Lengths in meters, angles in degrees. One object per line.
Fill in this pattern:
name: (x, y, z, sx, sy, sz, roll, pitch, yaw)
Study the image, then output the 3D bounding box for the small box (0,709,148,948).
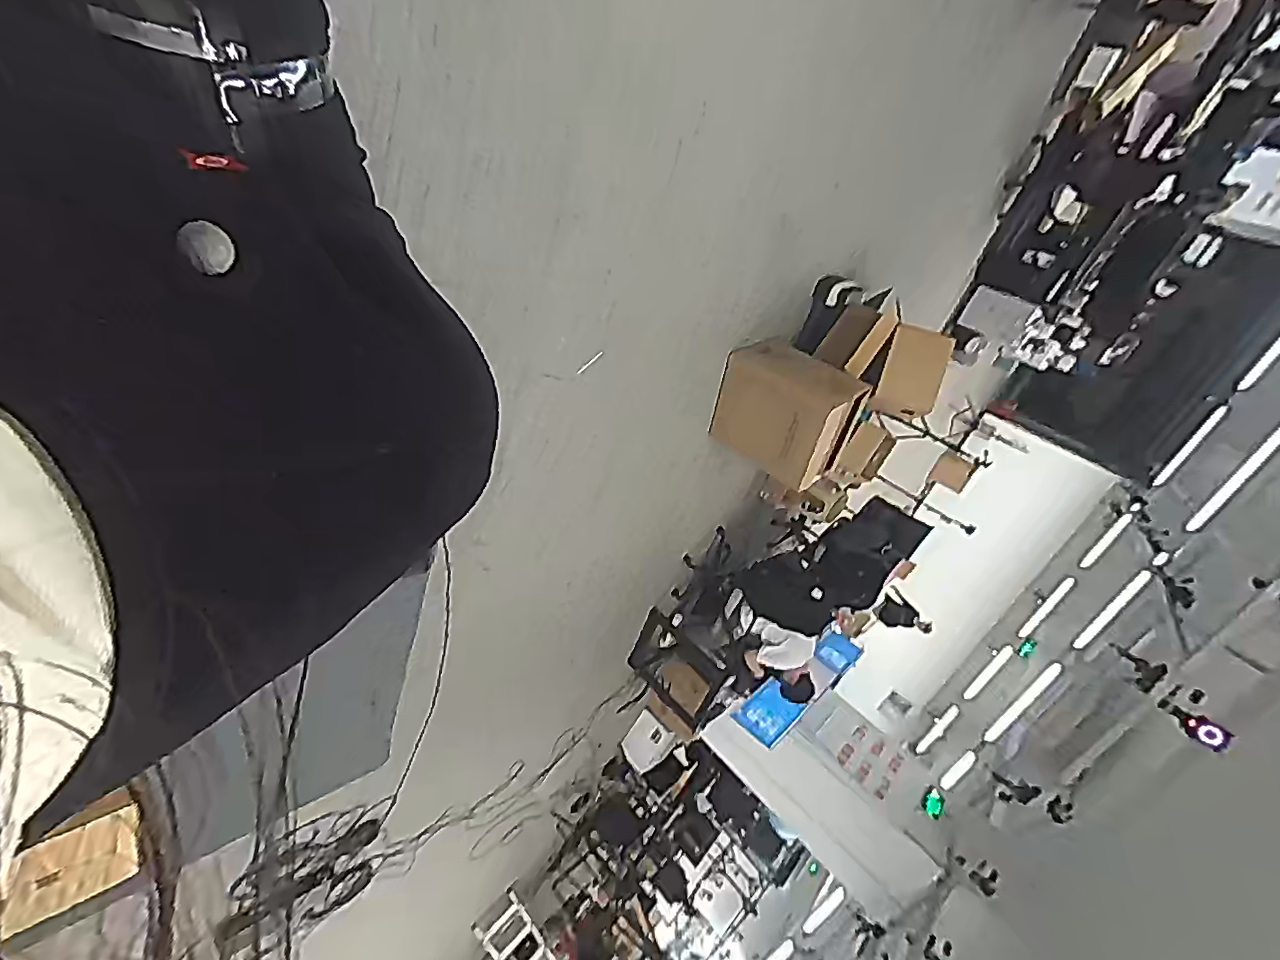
small box: (-0.746, 0.428, 0.670, 0.179, 0.176, 0.168, -9, 129, -52)
